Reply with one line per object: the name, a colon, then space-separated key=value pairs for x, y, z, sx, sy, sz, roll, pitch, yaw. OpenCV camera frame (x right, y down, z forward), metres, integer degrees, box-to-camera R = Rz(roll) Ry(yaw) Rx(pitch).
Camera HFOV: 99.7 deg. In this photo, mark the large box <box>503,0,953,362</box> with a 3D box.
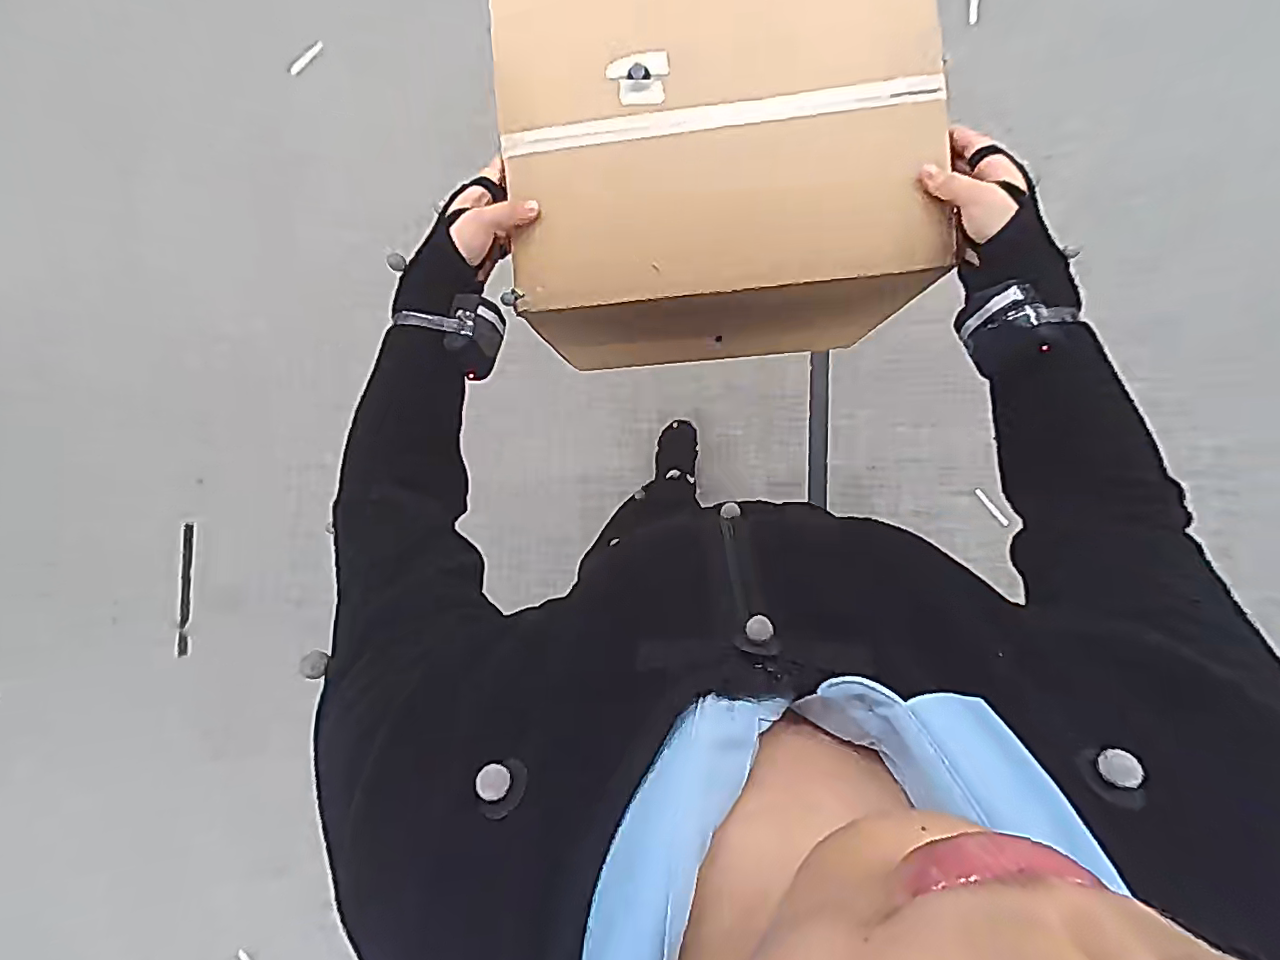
large box: x=0.091 y=-0.340 z=0.654 sx=0.408 sy=0.320 sz=0.320 roll=-4 pitch=90 yaw=6
